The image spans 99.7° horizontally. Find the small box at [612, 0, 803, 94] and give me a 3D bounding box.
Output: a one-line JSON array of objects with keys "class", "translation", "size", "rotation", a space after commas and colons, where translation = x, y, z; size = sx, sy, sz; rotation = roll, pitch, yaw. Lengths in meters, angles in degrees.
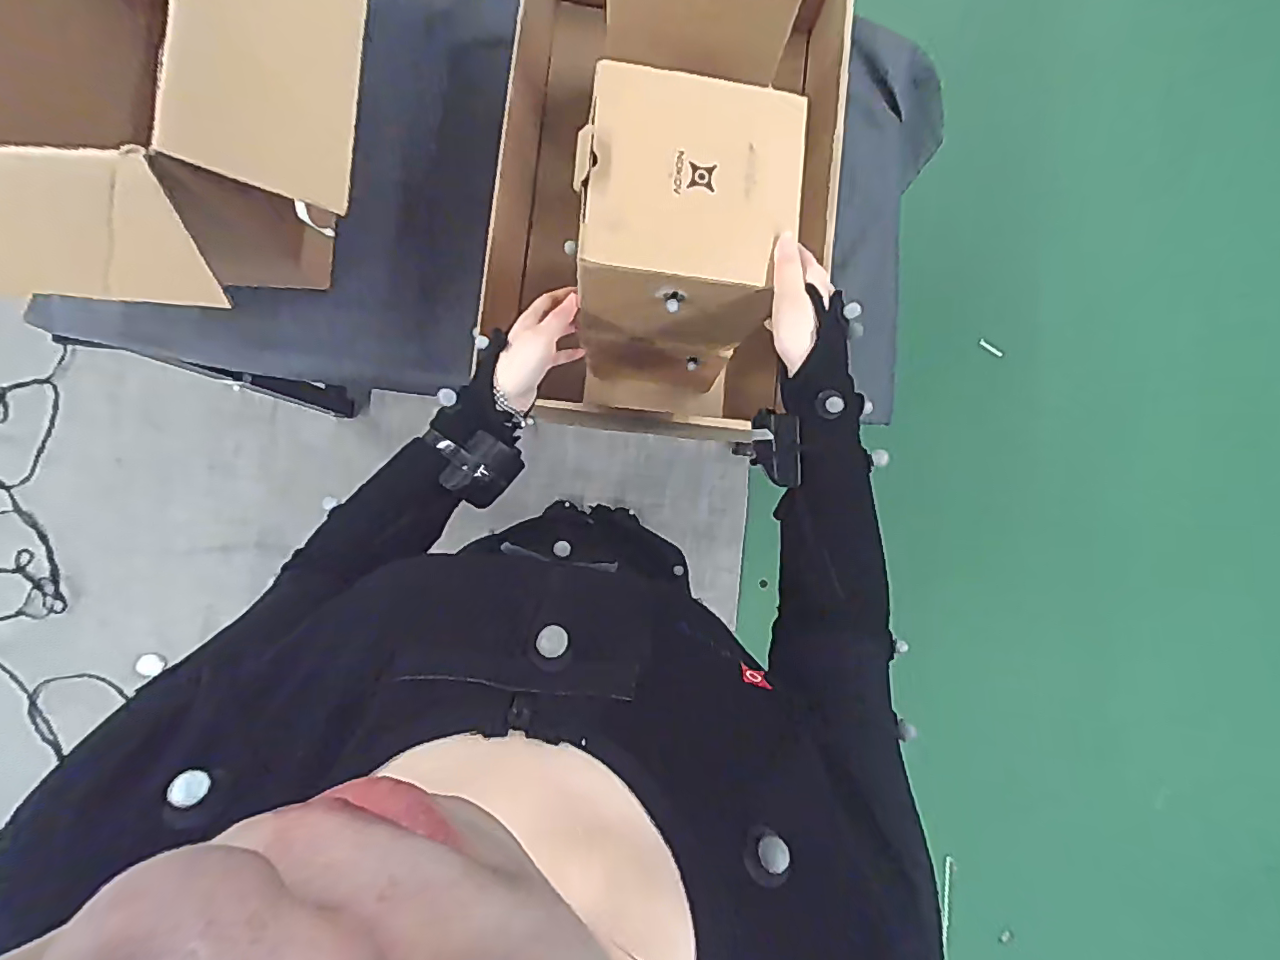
[{"class": "small box", "translation": [0.063, -0.487, 0.528], "size": [0.168, 0.176, 0.179], "rotation": [7, 89, -2]}]

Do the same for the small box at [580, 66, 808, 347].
[{"class": "small box", "translation": [0.037, -0.235, 0.511], "size": [0.179, 0.176, 0.168], "rotation": [5, 87, -8]}]
